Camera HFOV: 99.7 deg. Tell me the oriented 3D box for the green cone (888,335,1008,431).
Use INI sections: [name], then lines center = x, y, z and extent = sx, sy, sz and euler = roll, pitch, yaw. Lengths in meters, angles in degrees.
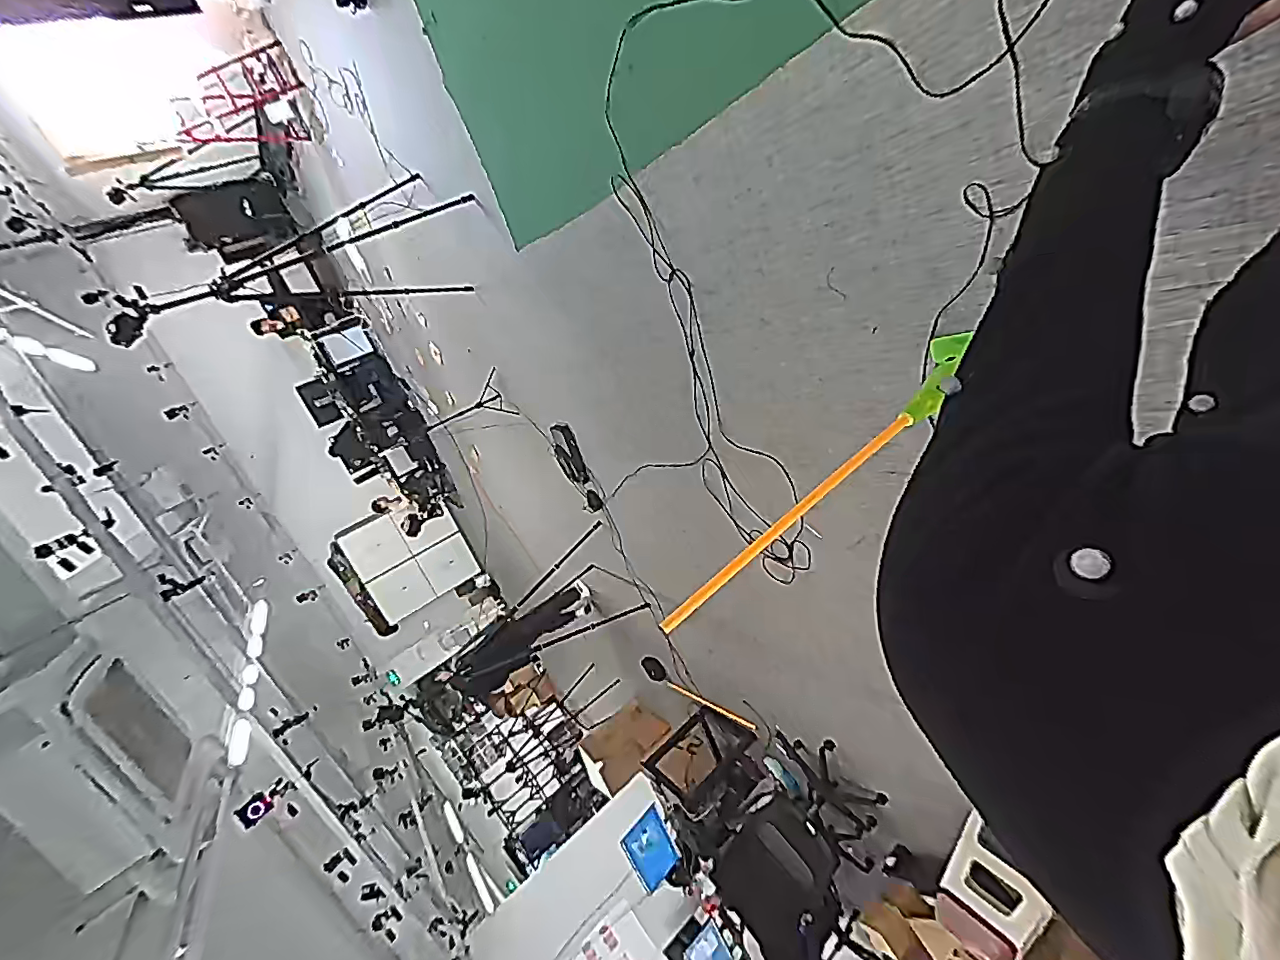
[green cone]
center = 0.809, -0.233, 1.488
extent = 0.202, 0.368, 0.200
euler = 4, 121, 60
